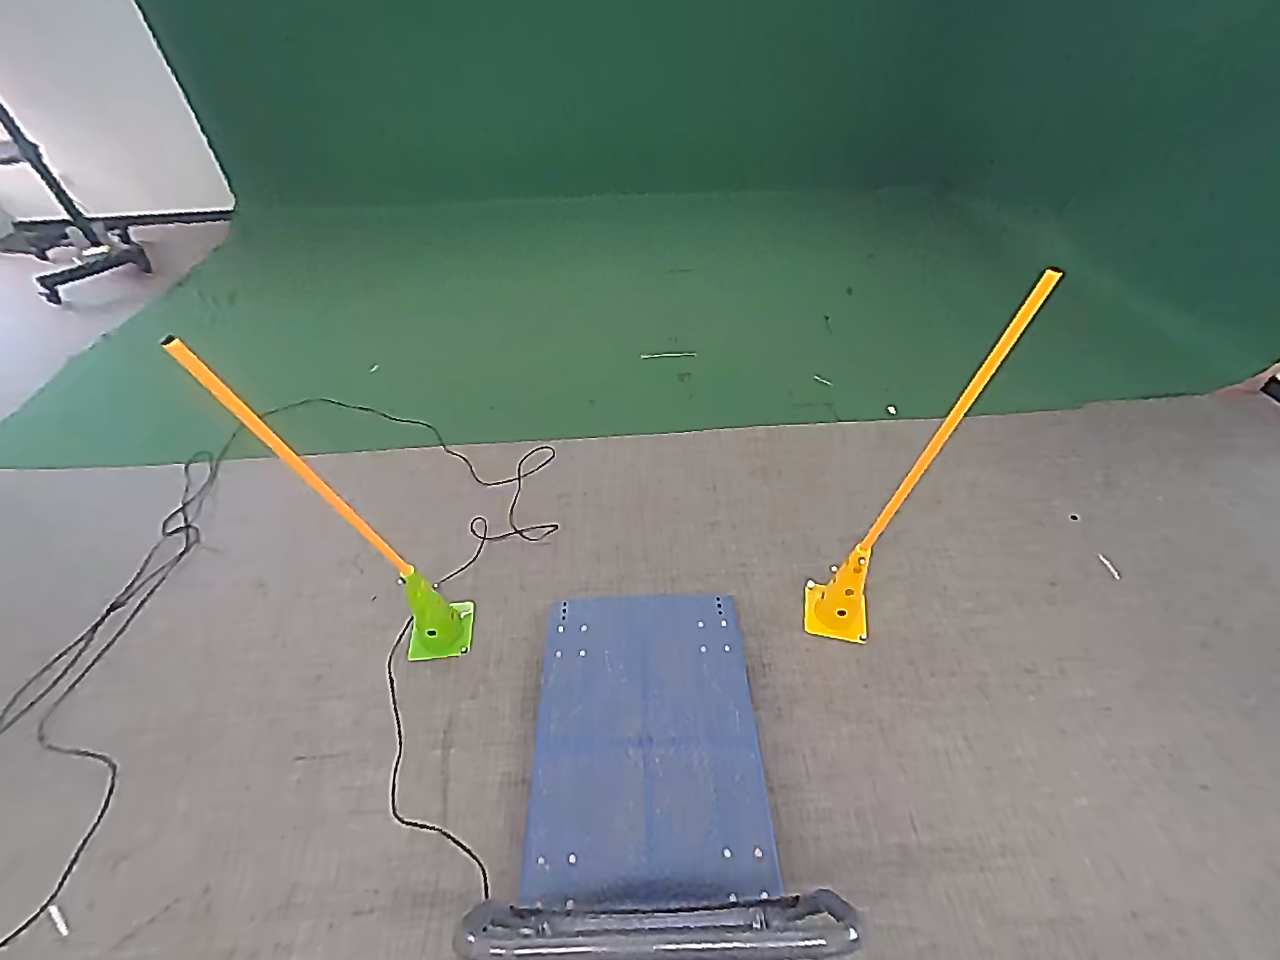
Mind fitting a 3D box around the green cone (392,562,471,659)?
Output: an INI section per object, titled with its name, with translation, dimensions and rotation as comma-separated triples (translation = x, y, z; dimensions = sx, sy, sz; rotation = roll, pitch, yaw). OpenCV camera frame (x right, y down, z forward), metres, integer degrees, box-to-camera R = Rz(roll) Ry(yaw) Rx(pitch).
[green cone]
translation = -0.680, 0.373, 1.685
dimensions = 0.202, 0.368, 0.200
rotation = -7, 46, -3
